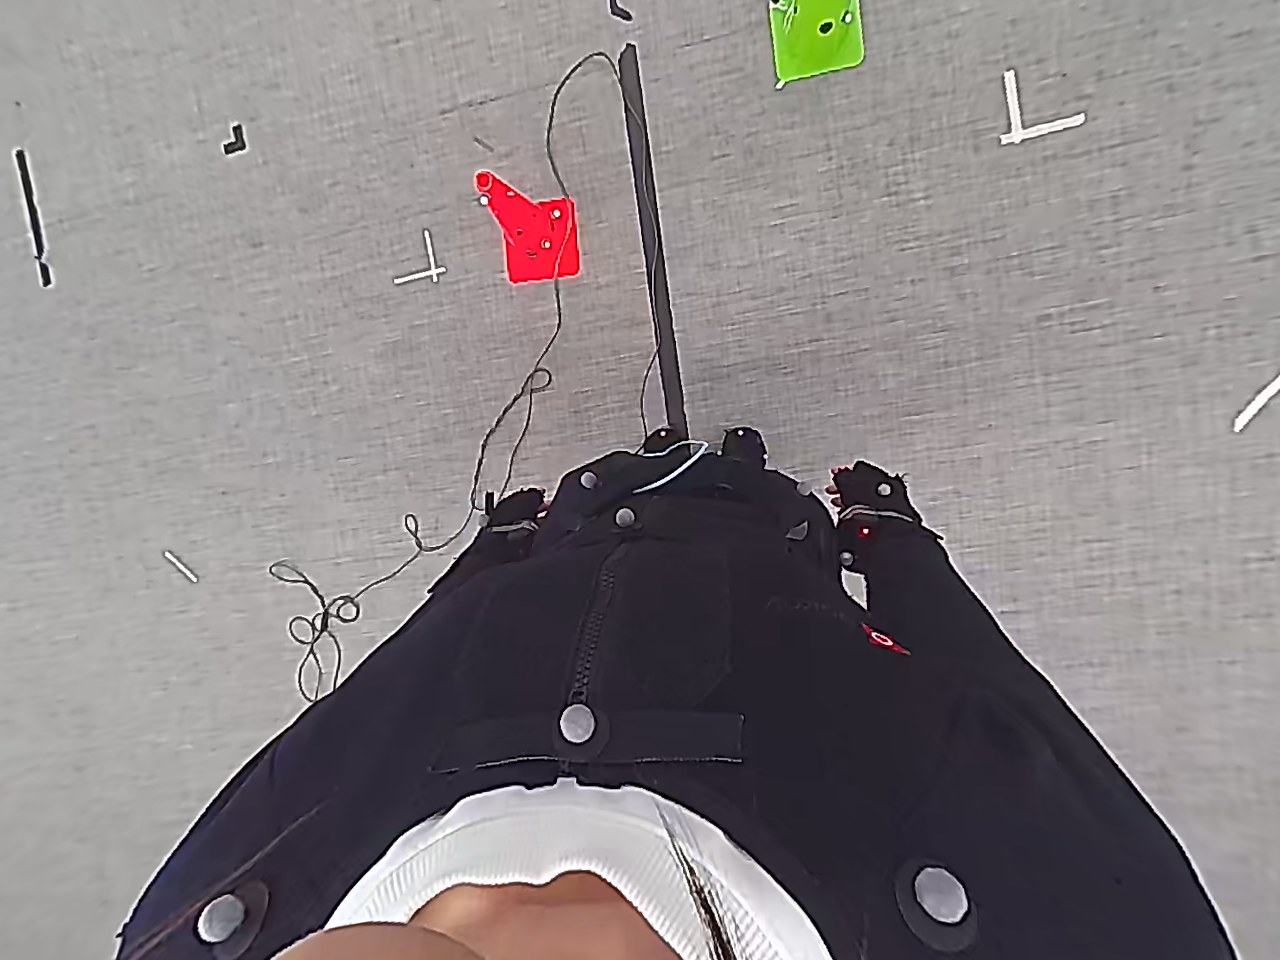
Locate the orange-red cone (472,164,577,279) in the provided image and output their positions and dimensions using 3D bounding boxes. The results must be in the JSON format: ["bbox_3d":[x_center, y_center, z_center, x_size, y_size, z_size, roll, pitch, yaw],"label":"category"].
[{"bbox_3d":[-0.288,-0.617,1.238,0.199,0.360,0.198,-3,94,10],"label":"orange-red cone"}]

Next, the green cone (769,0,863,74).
[{"bbox_3d":[0.388,-1.046,1.090,0.202,0.368,0.200,-8,95,8],"label":"green cone"}]
